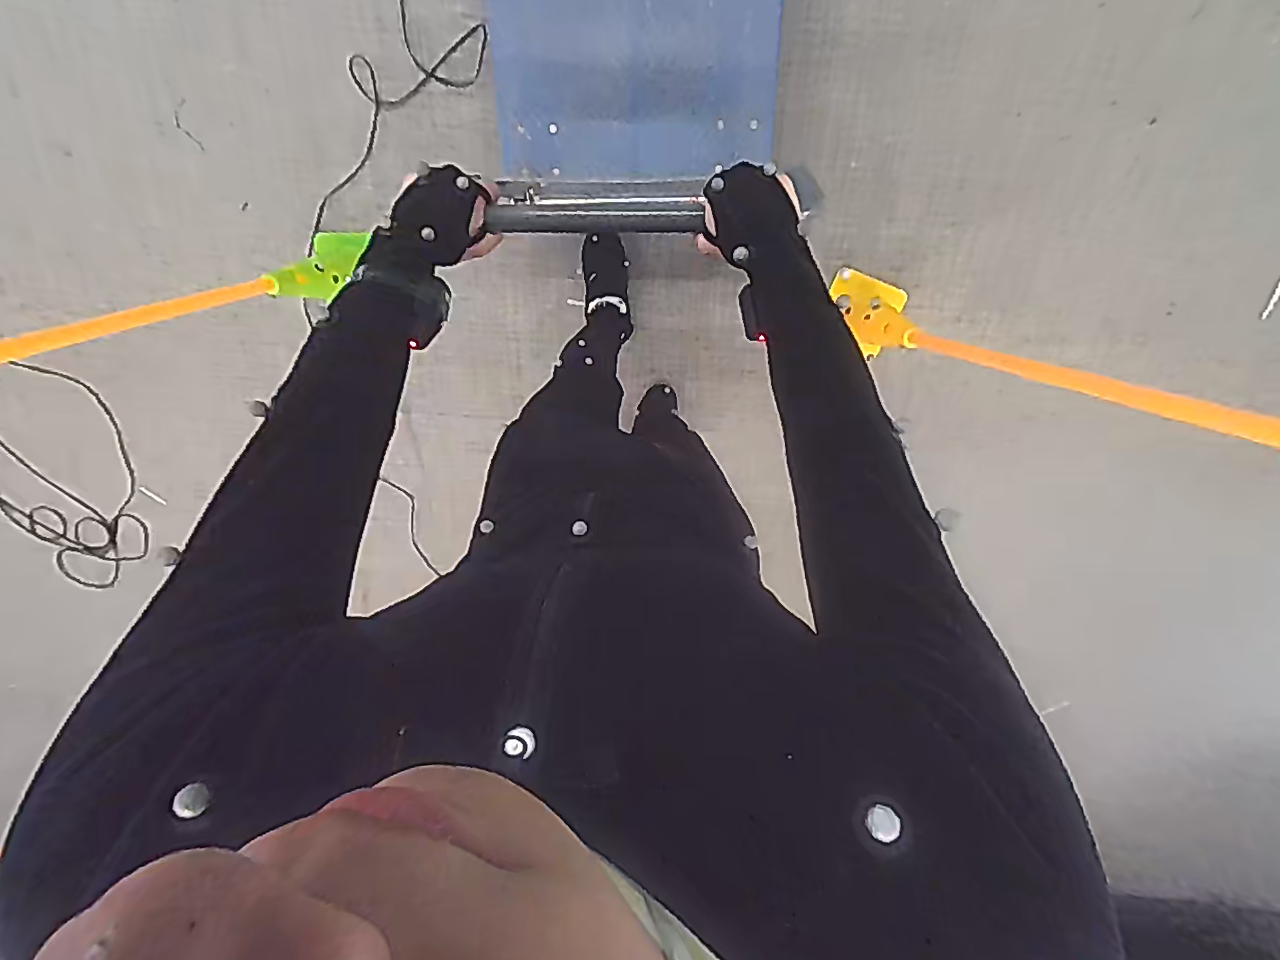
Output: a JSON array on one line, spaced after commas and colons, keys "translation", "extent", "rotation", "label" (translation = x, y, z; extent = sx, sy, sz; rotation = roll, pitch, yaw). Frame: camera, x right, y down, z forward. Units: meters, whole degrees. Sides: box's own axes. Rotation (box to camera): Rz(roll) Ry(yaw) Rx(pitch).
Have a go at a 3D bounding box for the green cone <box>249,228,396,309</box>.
[{"translation": [-0.764, -0.484, 1.266], "extent": [0.202, 0.368, 0.200], "rotation": [1, 114, 4], "label": "green cone"}]
